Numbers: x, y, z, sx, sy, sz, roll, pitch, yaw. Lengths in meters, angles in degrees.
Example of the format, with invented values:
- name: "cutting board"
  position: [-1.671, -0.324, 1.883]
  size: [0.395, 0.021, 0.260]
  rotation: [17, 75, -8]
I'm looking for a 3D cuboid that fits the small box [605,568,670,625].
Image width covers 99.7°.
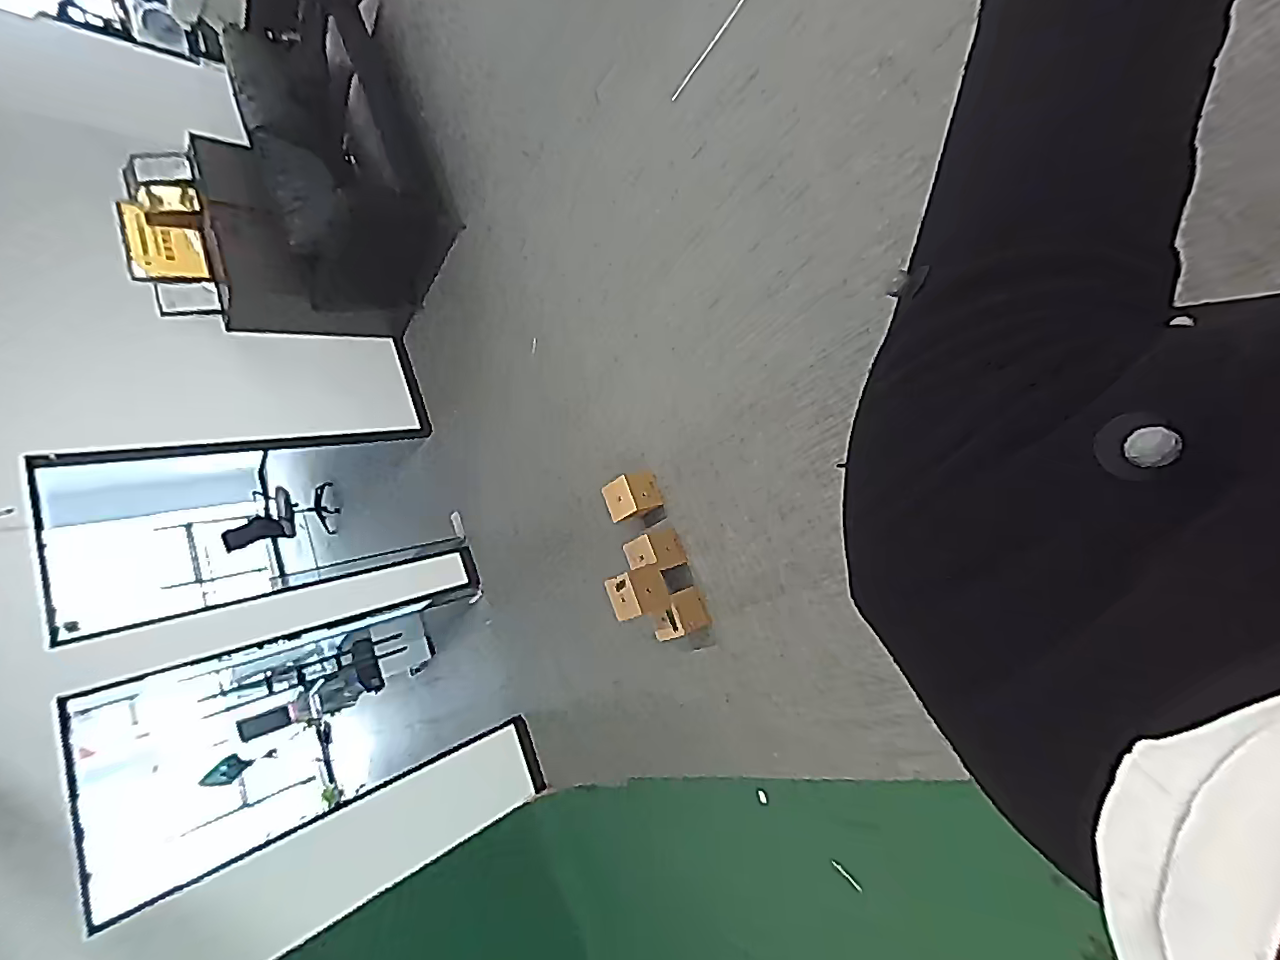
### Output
- name: "small box"
  position: [-0.009, 0.464, 2.175]
  size: [0.168, 0.176, 0.179]
  rotation: [-31, 75, 45]

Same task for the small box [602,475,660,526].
- name: "small box"
  position: [-0.031, 0.087, 2.375]
  size: [0.179, 0.176, 0.168]
  rotation: [-33, 73, 45]
